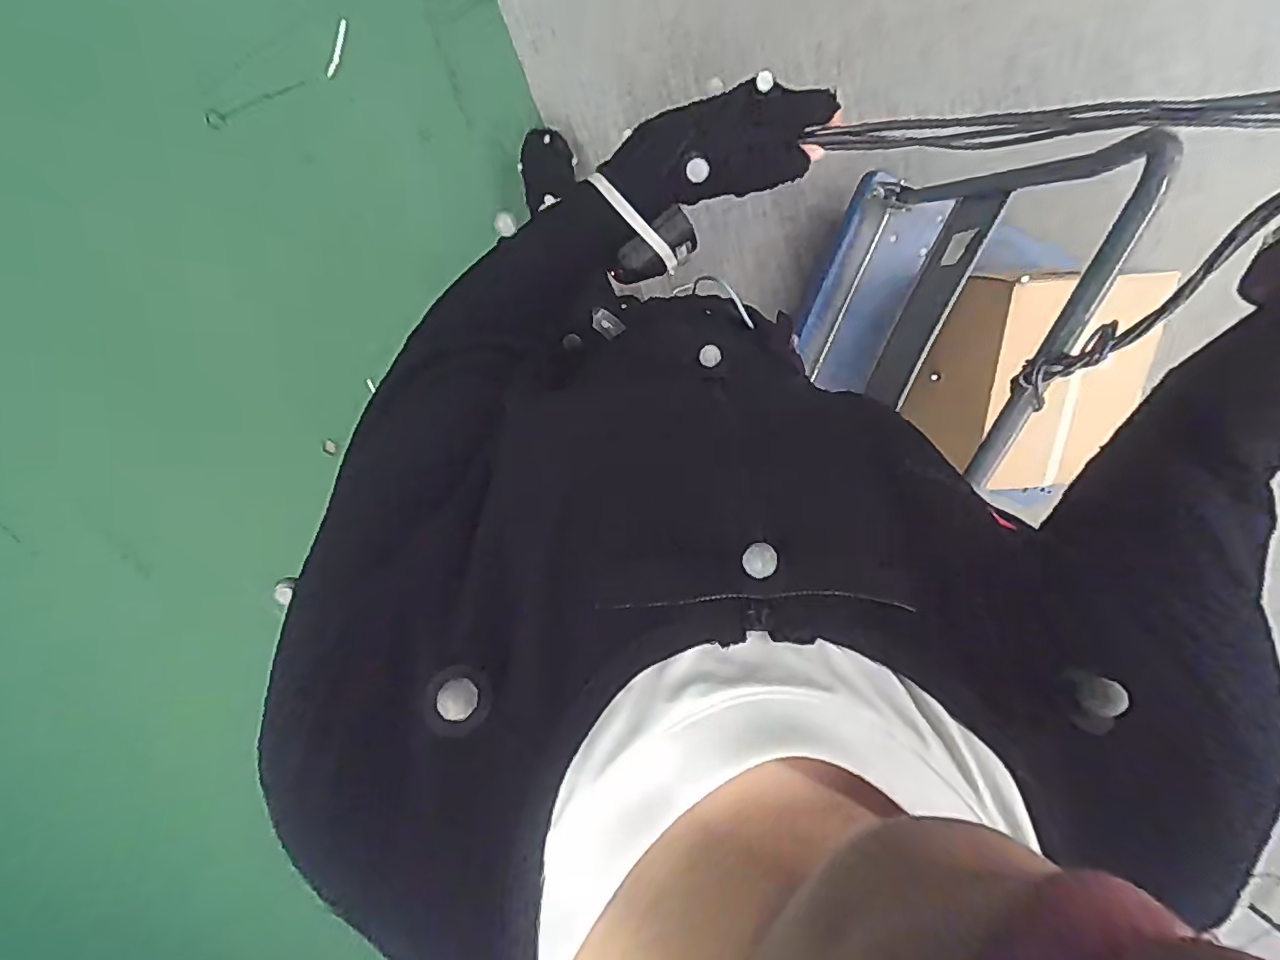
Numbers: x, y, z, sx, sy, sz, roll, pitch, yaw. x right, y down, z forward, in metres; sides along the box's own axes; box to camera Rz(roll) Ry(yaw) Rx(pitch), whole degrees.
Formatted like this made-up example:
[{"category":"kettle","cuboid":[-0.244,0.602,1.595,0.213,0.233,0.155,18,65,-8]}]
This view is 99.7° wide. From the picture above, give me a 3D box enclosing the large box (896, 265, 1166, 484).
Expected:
[{"category":"large box","cuboid":[0.798,-0.241,1.176,0.320,0.320,0.408,-5,113,-4]}]
